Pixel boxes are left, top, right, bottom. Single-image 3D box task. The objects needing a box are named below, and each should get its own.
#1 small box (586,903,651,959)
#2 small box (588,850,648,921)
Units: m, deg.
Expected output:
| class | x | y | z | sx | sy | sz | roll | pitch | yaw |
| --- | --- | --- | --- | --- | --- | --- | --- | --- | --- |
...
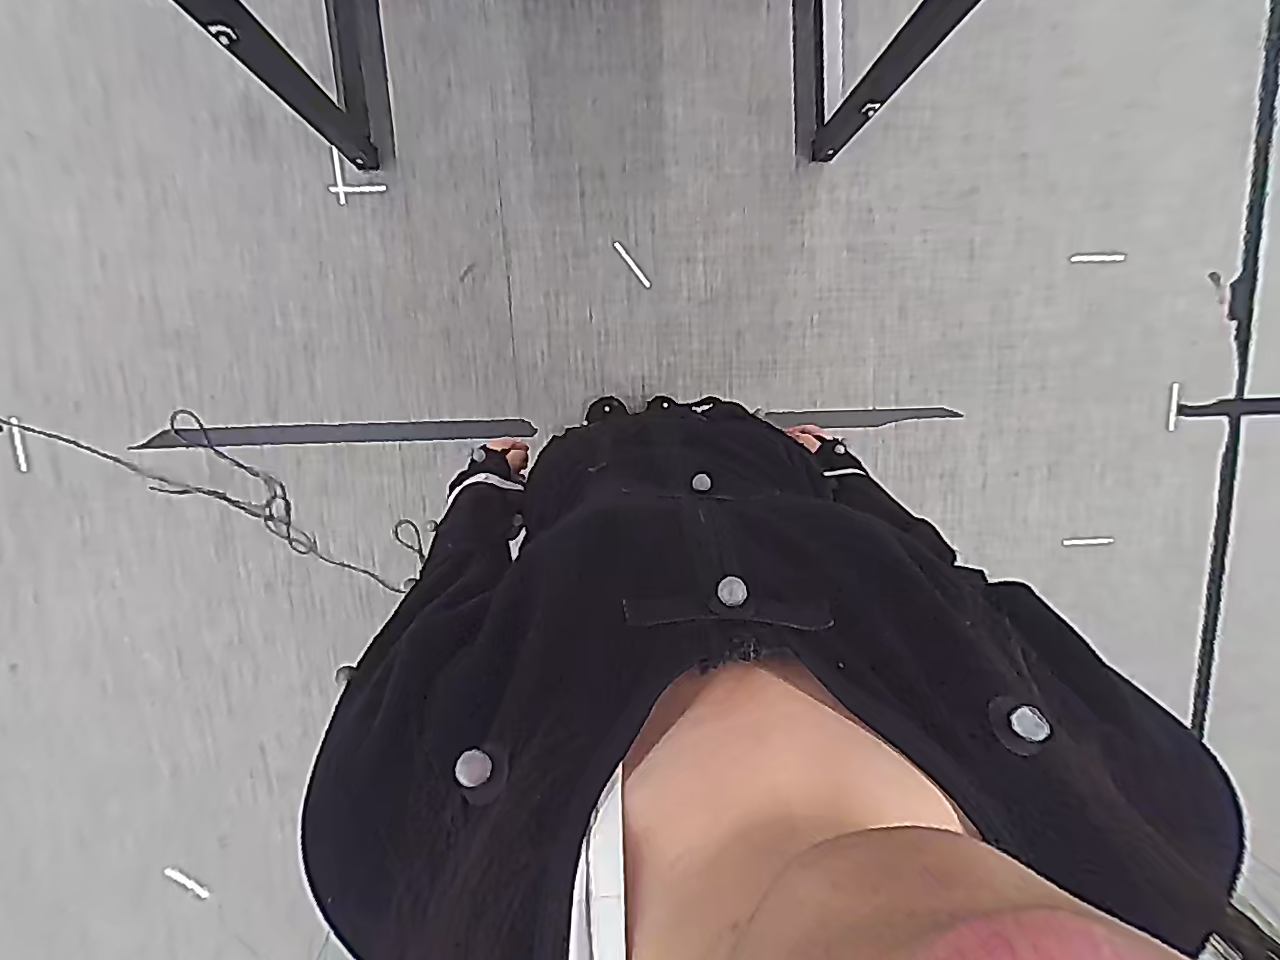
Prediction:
| class | x | y | z | sx | sy | sz | roll | pitch | yaw |
| --- | --- | --- | --- | --- | --- | --- | --- | --- | --- |
| small box | -0.058 | 1.262 | 1.429 | 0.168 | 0.176 | 0.179 | -2 | 100 | -3 |
| small box | -0.066 | 1.224 | 1.589 | 0.168 | 0.176 | 0.179 | -5 | 100 | -2 |
